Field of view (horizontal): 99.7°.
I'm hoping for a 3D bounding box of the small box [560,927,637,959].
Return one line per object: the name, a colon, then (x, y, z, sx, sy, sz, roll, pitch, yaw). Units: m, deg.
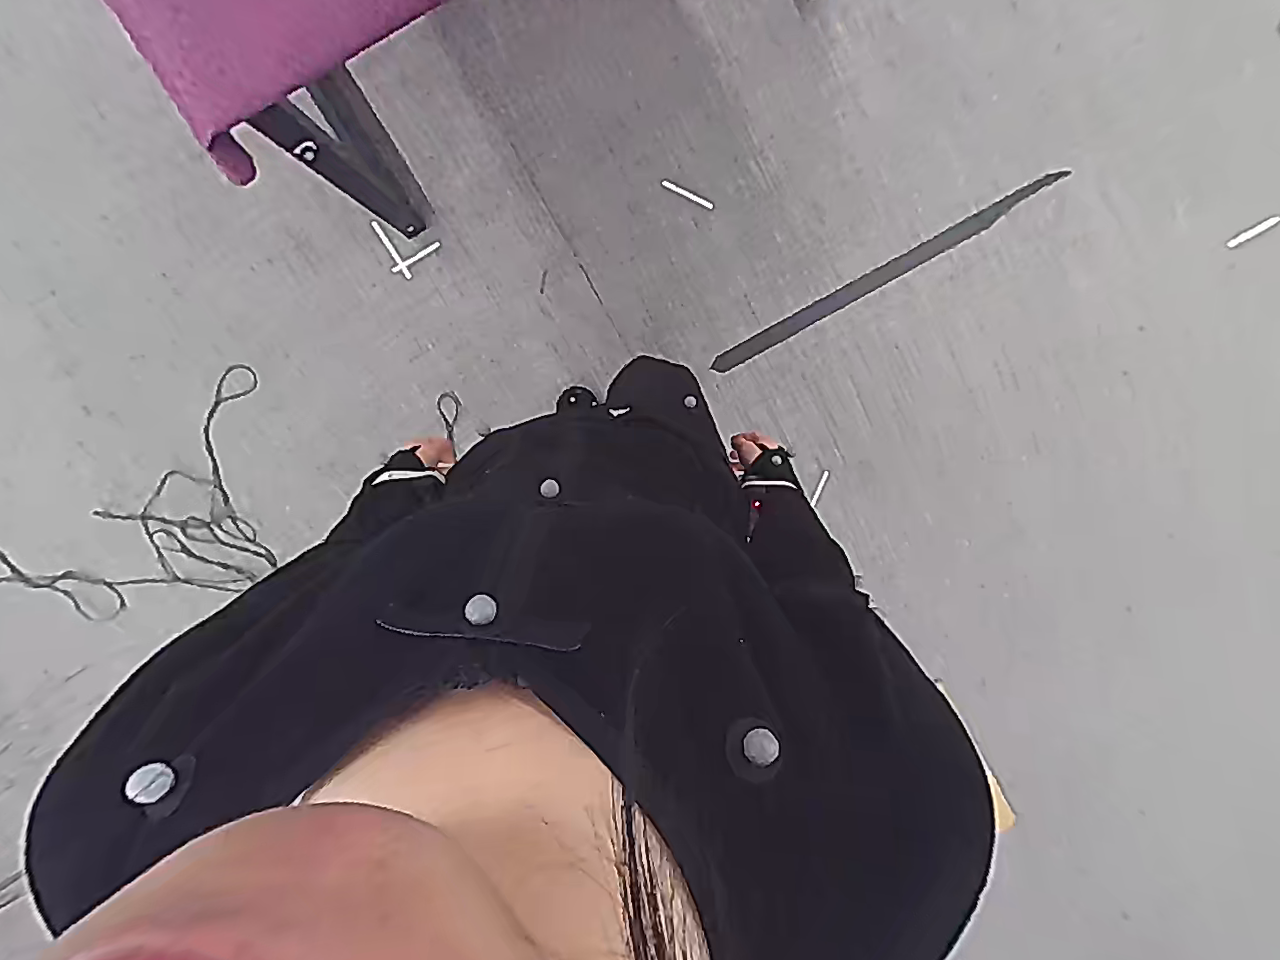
small box: (-0.108, 1.248, 1.321, 0.179, 0.176, 0.168, 17, 97, -6)
